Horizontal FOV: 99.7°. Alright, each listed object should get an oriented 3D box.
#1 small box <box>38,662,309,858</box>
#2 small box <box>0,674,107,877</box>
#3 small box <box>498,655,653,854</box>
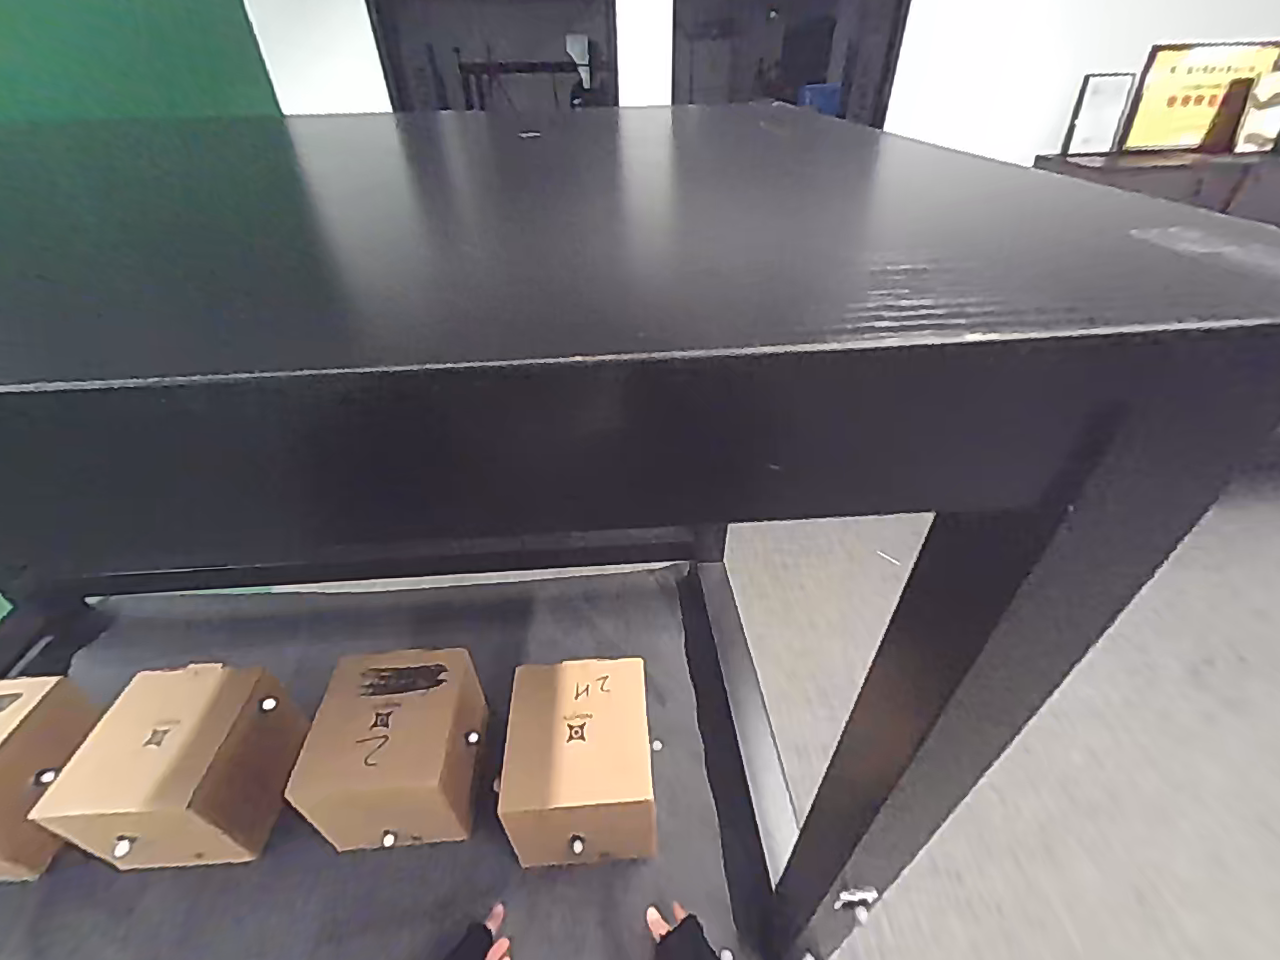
[{"bbox_3d":[-0.562,0.359,0.691,0.168,0.176,0.179,-2,38,-2],"label":"small box"},{"bbox_3d":[-0.815,0.369,0.678,0.168,0.176,0.179,-2,39,-2],"label":"small box"},{"bbox_3d":[-0.072,0.350,0.687,0.168,0.176,0.179,-3,38,-2],"label":"small box"}]
